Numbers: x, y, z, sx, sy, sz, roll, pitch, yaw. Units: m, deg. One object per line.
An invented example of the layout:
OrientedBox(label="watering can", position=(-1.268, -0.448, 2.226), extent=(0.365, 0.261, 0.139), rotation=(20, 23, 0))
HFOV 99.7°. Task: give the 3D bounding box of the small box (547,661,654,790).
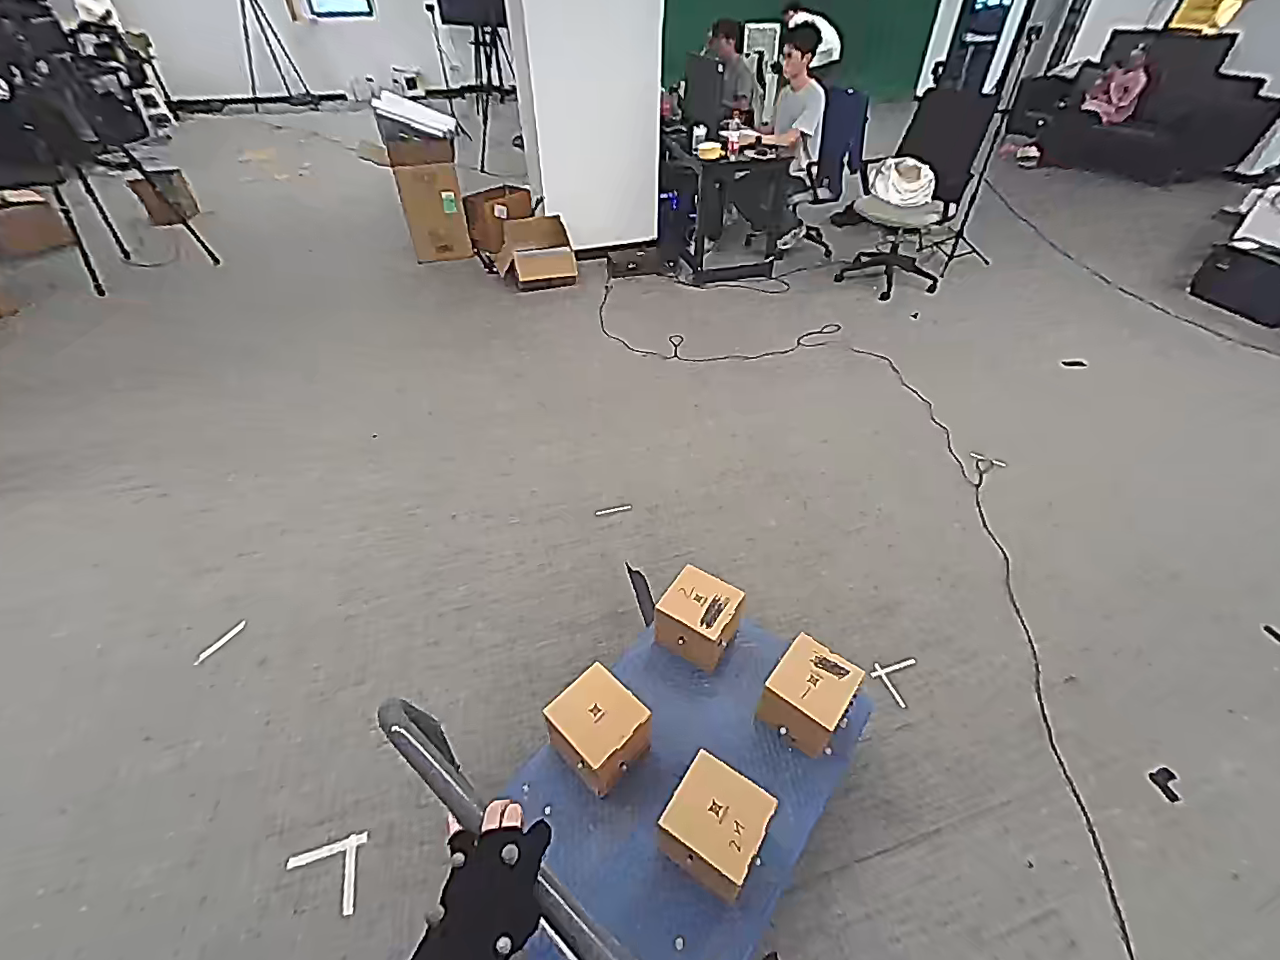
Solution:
OrientedBox(label="small box", position=(-0.089, 0.555, 1.220), extent=(0.179, 0.176, 0.168), rotation=(35, 53, 29))

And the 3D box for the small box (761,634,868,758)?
OrientedBox(label="small box", position=(0.401, 0.506, 1.269), extent=(0.168, 0.176, 0.179), rotation=(30, 52, 29))

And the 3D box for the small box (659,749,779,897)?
OrientedBox(label="small box", position=(0.152, 0.686, 1.078), extent=(0.179, 0.176, 0.168), rotation=(26, 49, 25))
